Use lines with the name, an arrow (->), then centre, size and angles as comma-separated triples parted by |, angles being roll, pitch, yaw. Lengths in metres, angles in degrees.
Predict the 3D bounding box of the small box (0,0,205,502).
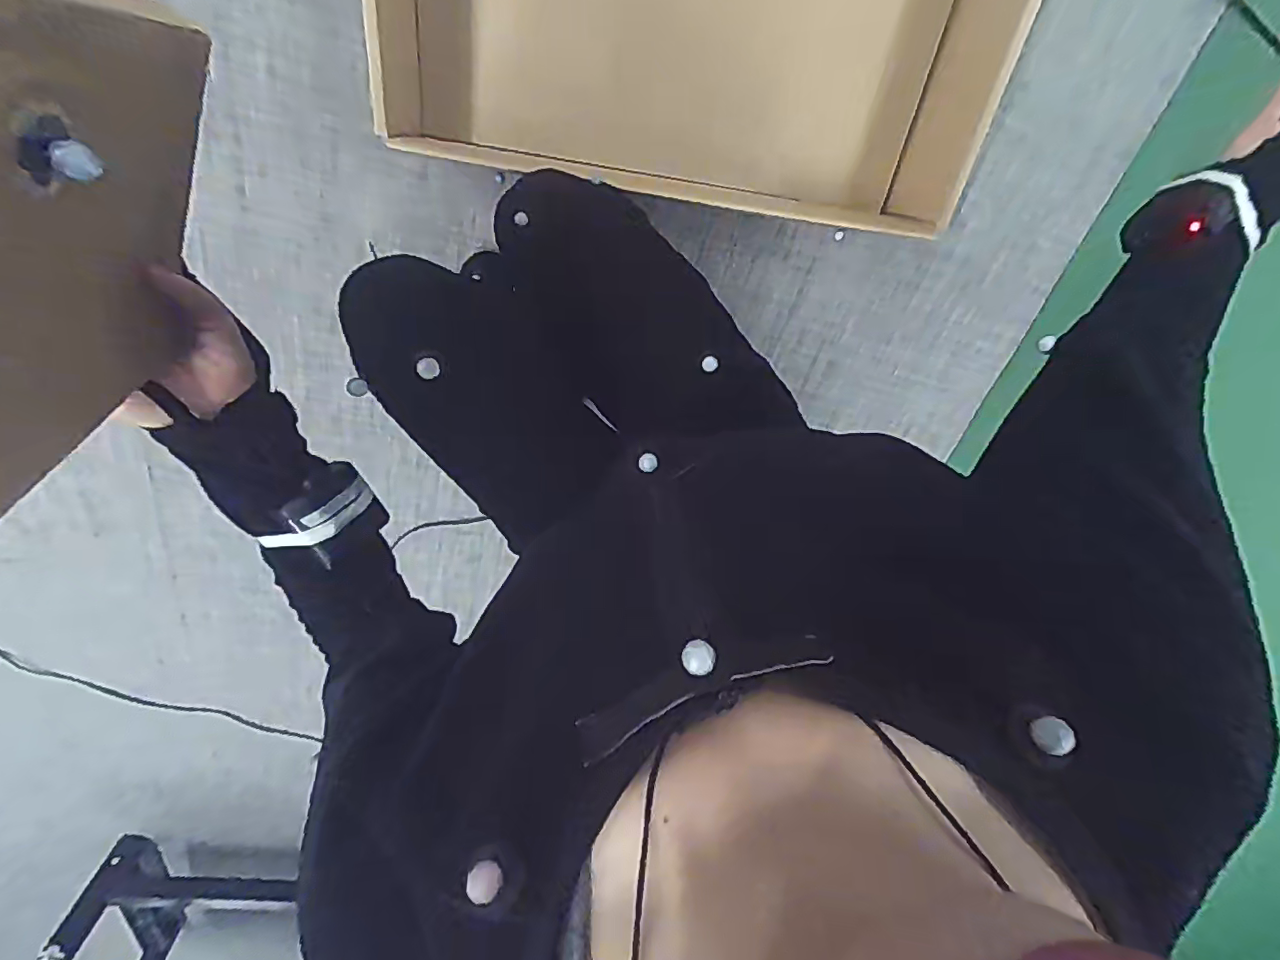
small box -> -0.288, -0.109, 0.189 | 0.168, 0.176, 0.179 | 17, 116, -28
